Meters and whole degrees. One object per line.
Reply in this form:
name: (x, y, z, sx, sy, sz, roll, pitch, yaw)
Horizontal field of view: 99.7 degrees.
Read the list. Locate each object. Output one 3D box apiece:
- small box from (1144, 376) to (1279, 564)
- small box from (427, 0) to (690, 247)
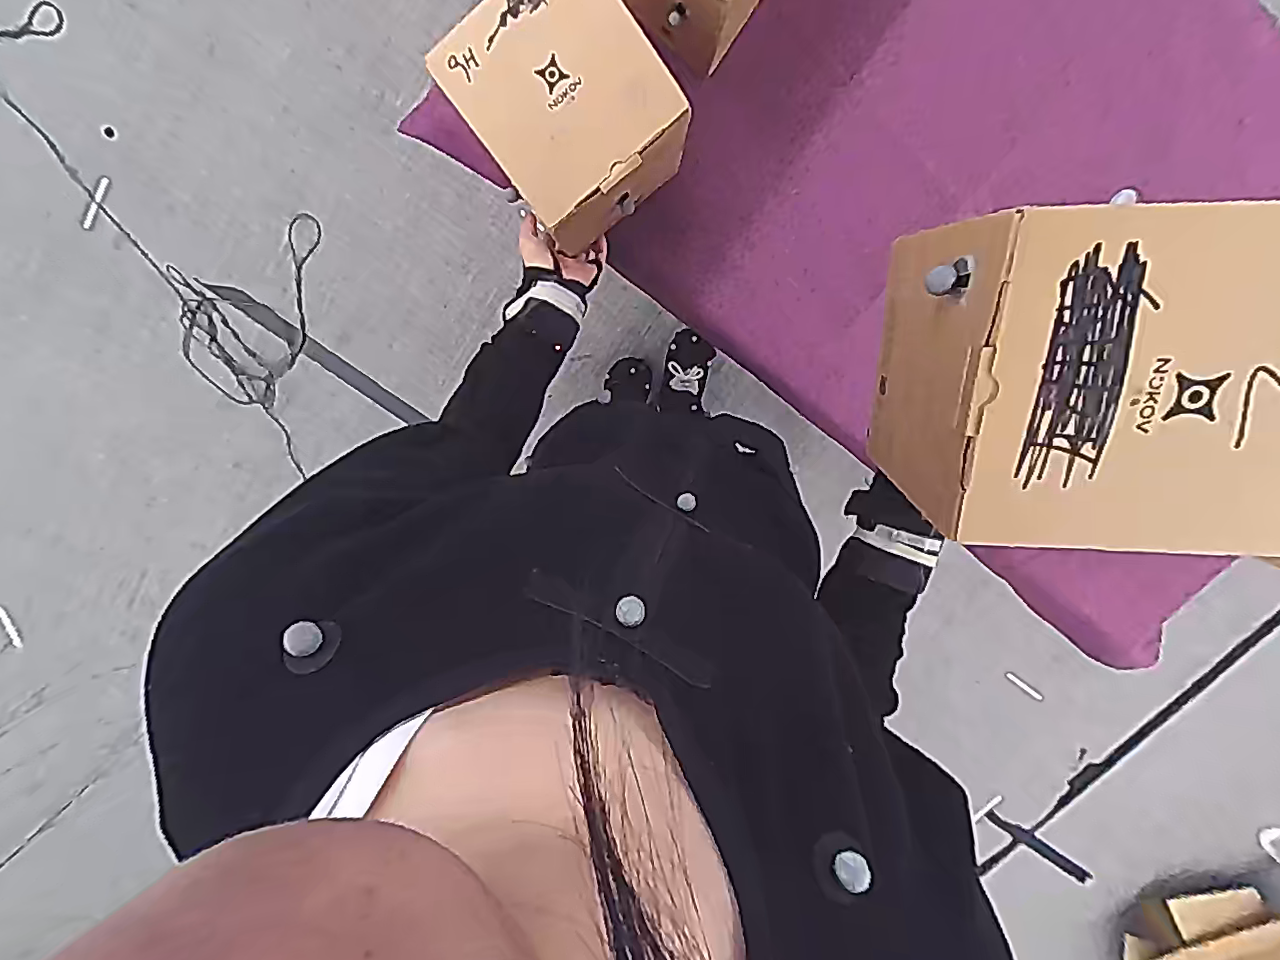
small box: (0.788, -0.008, 0.664, 0.168, 0.176, 0.179, 40, 102, -10)
small box: (-0.070, -0.361, 0.549, 0.168, 0.176, 0.179, -37, 102, 8)
